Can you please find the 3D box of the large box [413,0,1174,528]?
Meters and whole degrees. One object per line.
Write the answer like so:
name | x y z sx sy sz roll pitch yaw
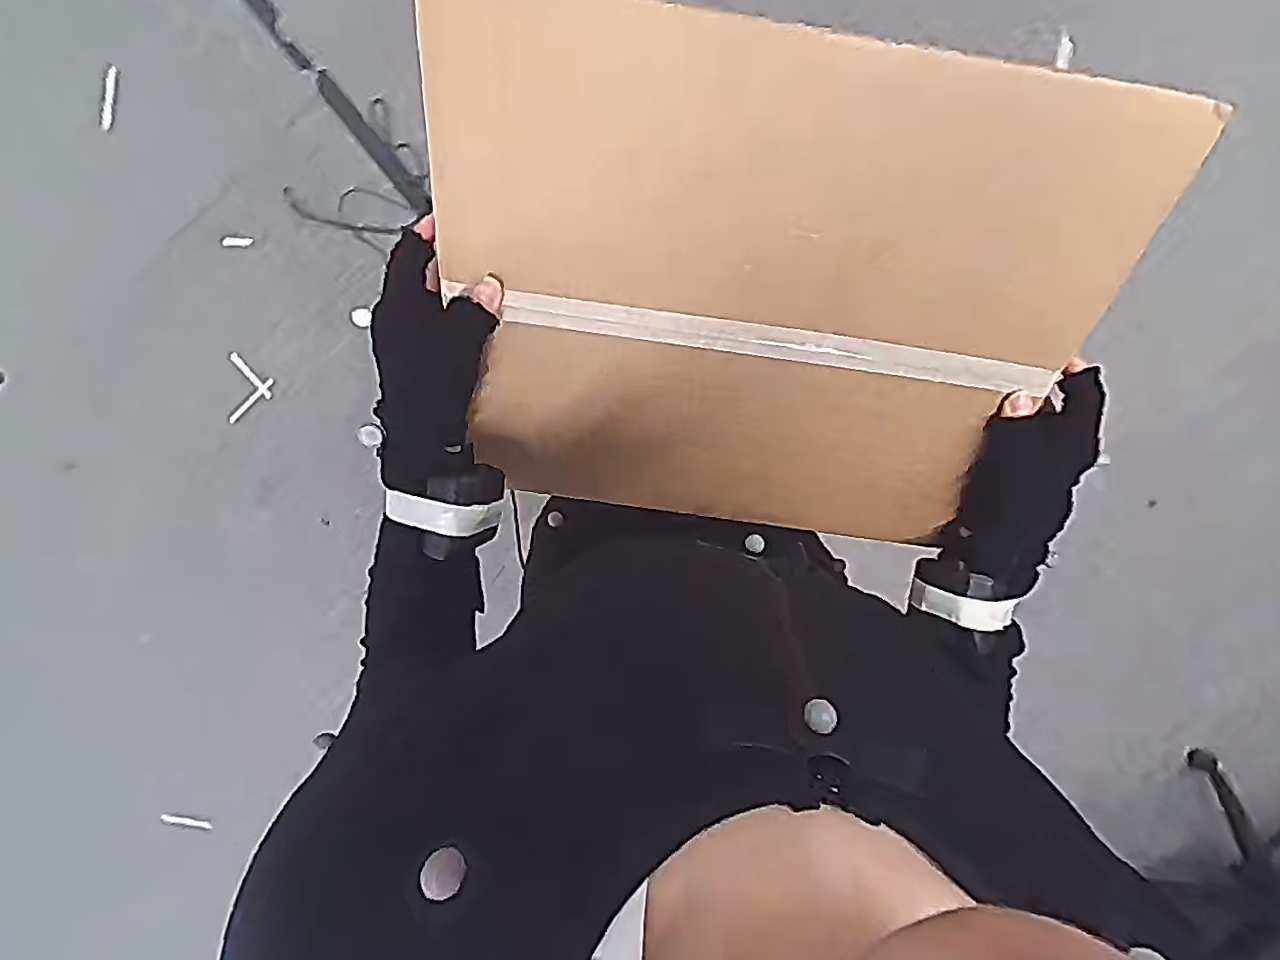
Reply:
large box | 0.072 -0.188 0.483 0.408 0.320 0.320 7 129 -2
